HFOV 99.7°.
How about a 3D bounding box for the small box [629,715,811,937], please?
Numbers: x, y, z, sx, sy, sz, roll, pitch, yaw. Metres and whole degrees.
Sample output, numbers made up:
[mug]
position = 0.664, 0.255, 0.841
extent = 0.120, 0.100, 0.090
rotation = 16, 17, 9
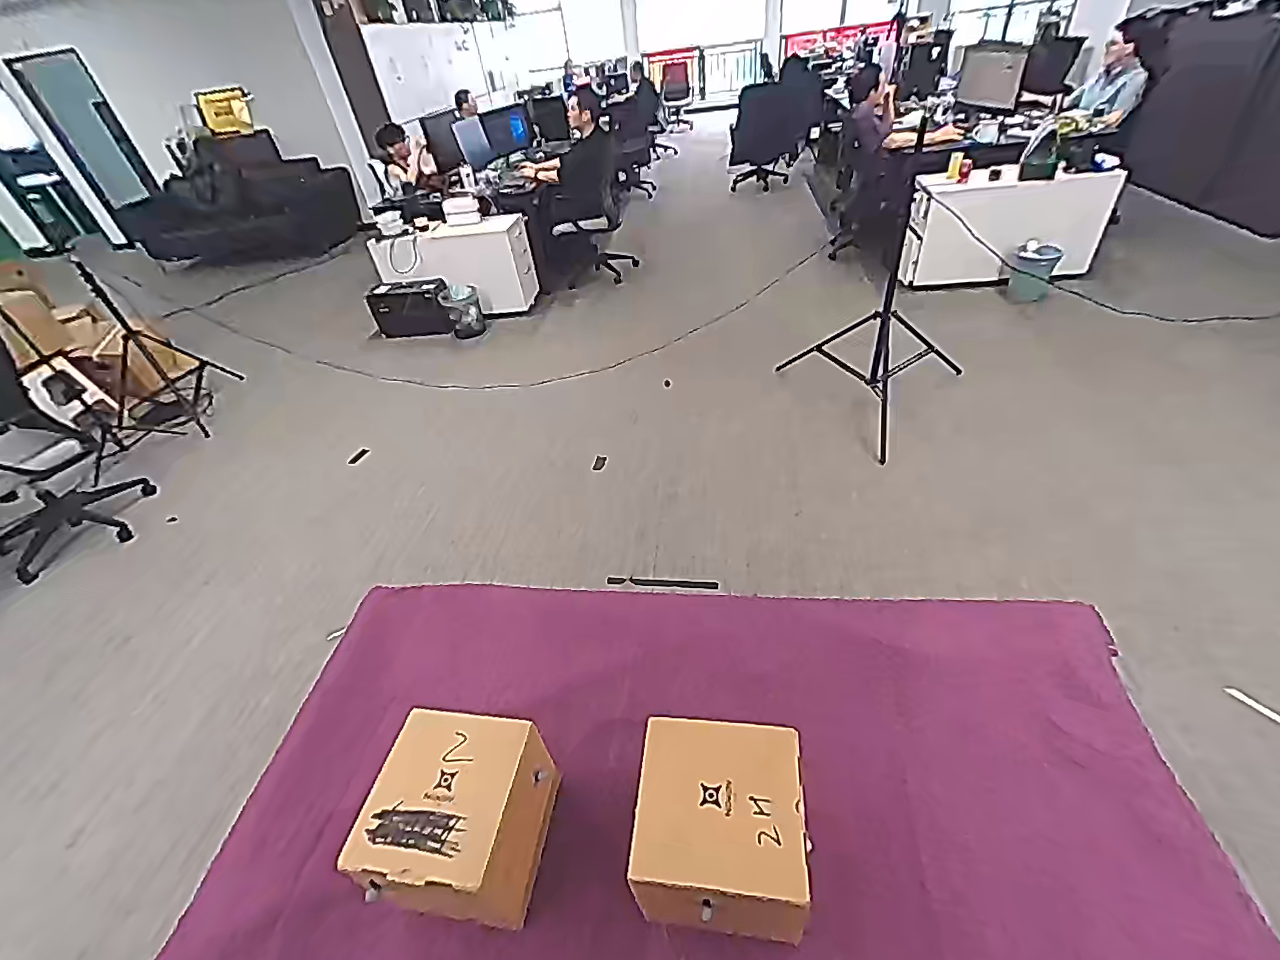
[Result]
[small box]
position = 0.095, 0.395, 0.622
extent = 0.179, 0.176, 0.168
rotation = 1, 41, 11
